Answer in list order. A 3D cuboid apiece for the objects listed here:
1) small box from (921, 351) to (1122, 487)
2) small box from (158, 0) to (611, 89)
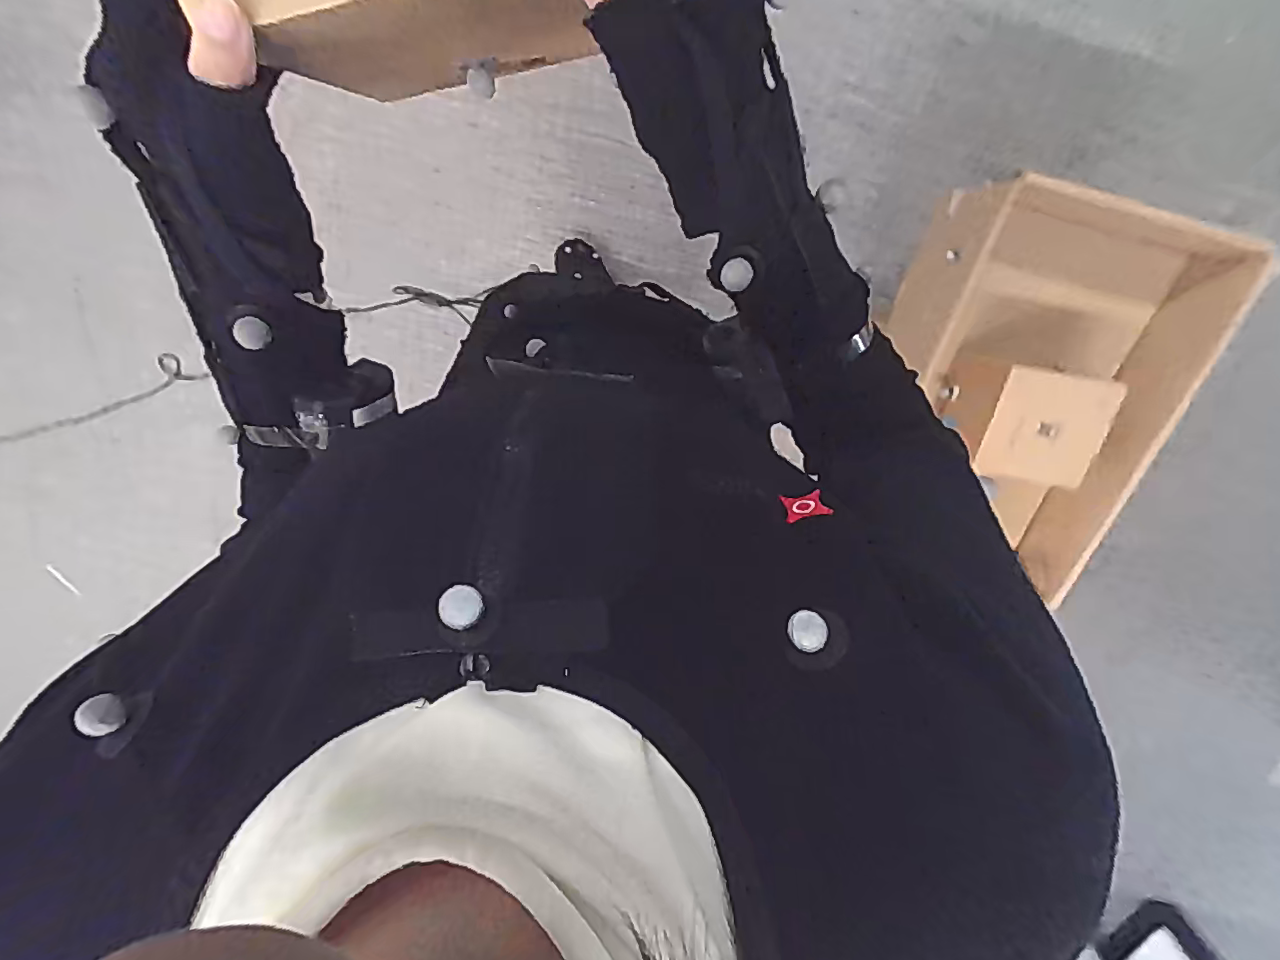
[{"bbox_3d":[0.601,-0.107,0.880,0.179,0.176,0.168,10,112,-2],"label":"small box"},{"bbox_3d":[-0.110,-0.293,0.223,0.168,0.176,0.179,-9,119,5],"label":"small box"}]
